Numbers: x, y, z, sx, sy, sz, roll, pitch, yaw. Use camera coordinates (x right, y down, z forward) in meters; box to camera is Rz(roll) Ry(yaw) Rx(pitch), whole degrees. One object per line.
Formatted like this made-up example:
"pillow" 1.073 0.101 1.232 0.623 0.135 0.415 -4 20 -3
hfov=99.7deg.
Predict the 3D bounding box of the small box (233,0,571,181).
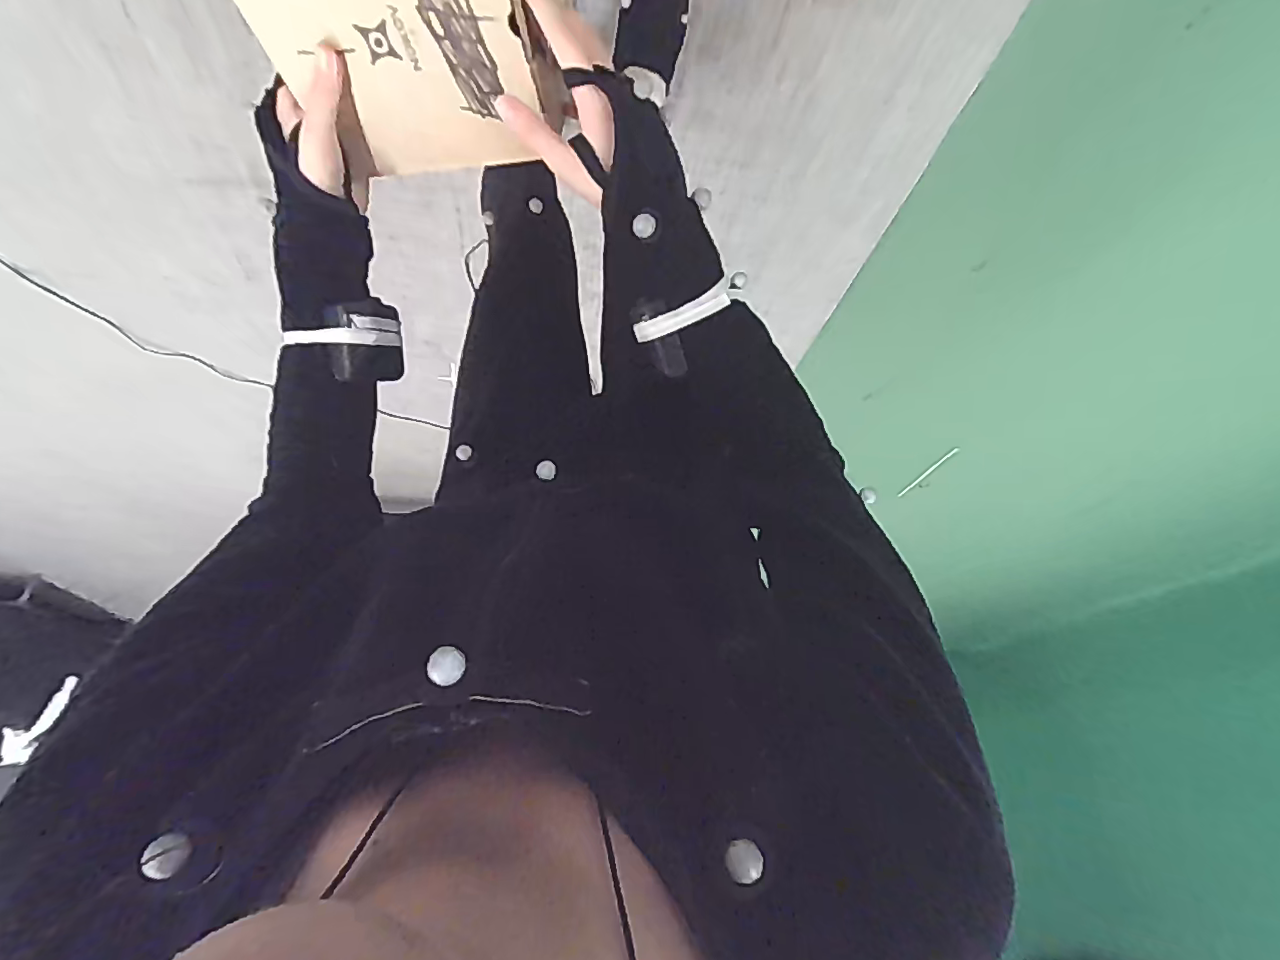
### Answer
"small box" -0.154 -0.350 0.388 0.179 0.176 0.168 1 151 10
